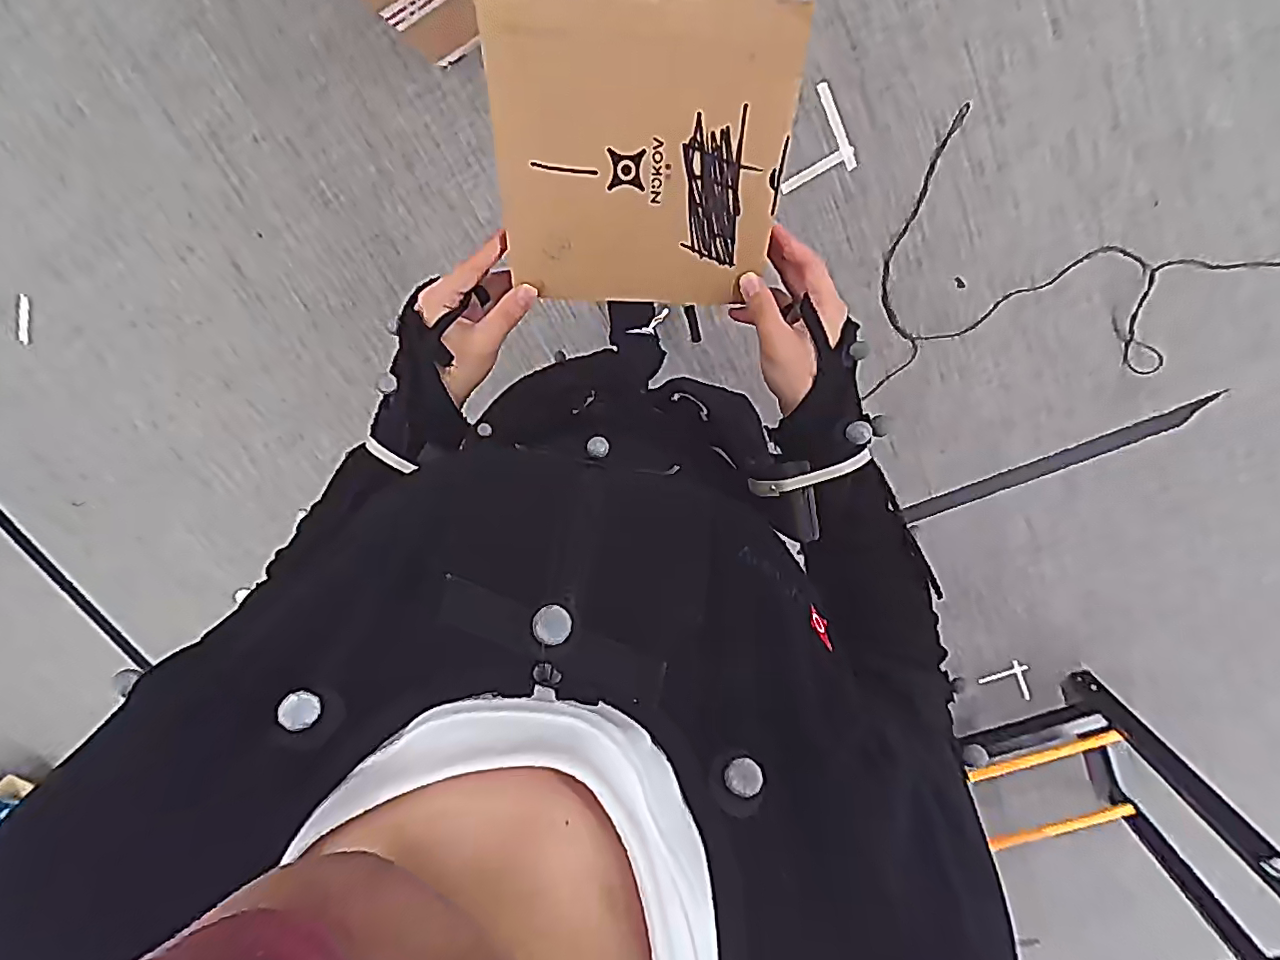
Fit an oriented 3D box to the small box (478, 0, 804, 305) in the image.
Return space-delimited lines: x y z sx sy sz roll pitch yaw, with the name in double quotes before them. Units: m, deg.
"small box" -0.002 -0.243 0.394 0.179 0.176 0.168 2 132 -1
